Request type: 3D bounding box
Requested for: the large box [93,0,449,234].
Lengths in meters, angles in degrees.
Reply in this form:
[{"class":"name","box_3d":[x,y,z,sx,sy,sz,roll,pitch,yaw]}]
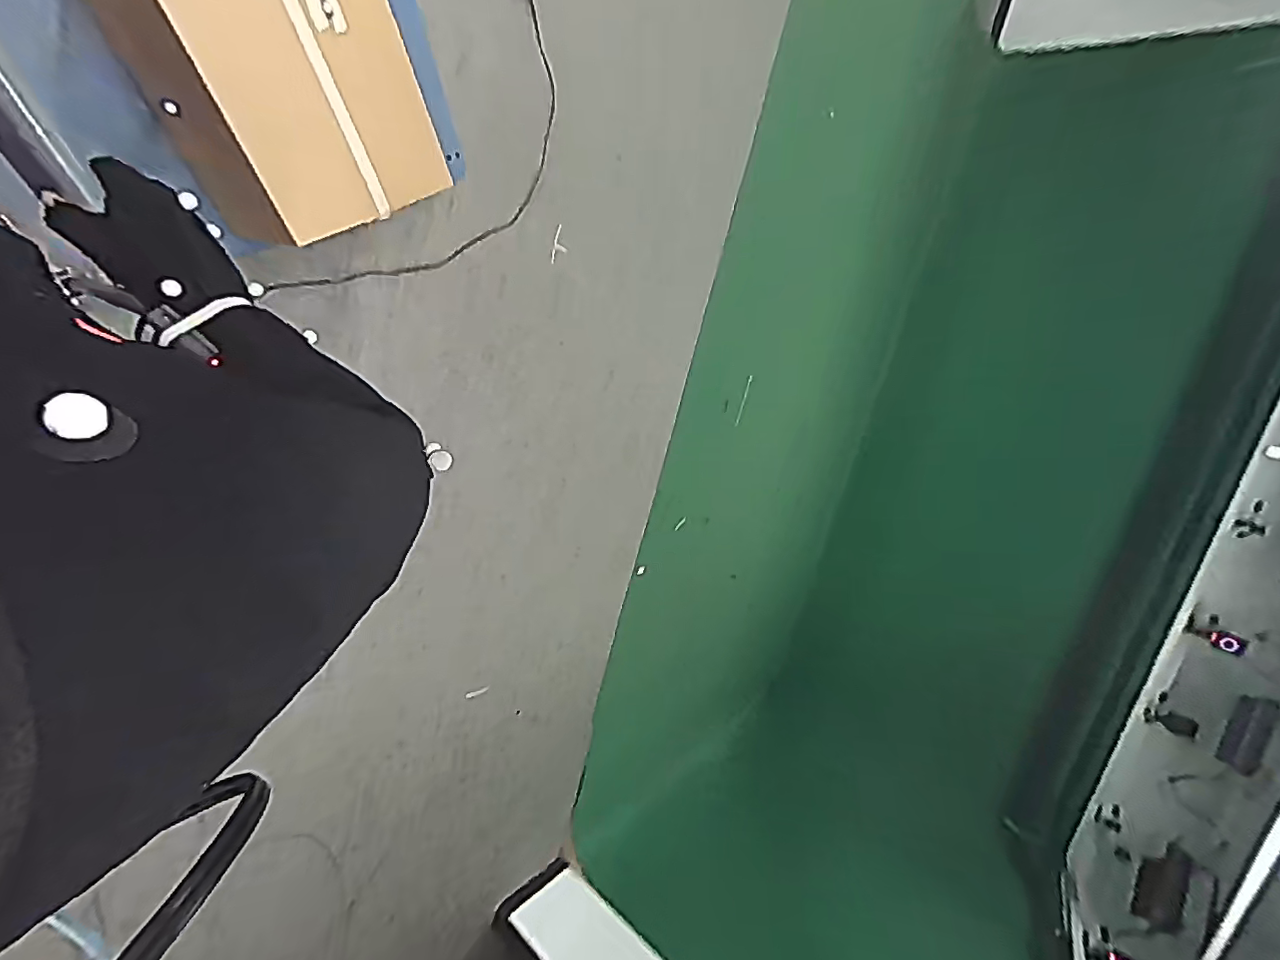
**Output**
[{"class":"large box","box_3d":[-0.598,-0.669,0.891,0.320,0.320,0.408,-43,137,-30]}]
